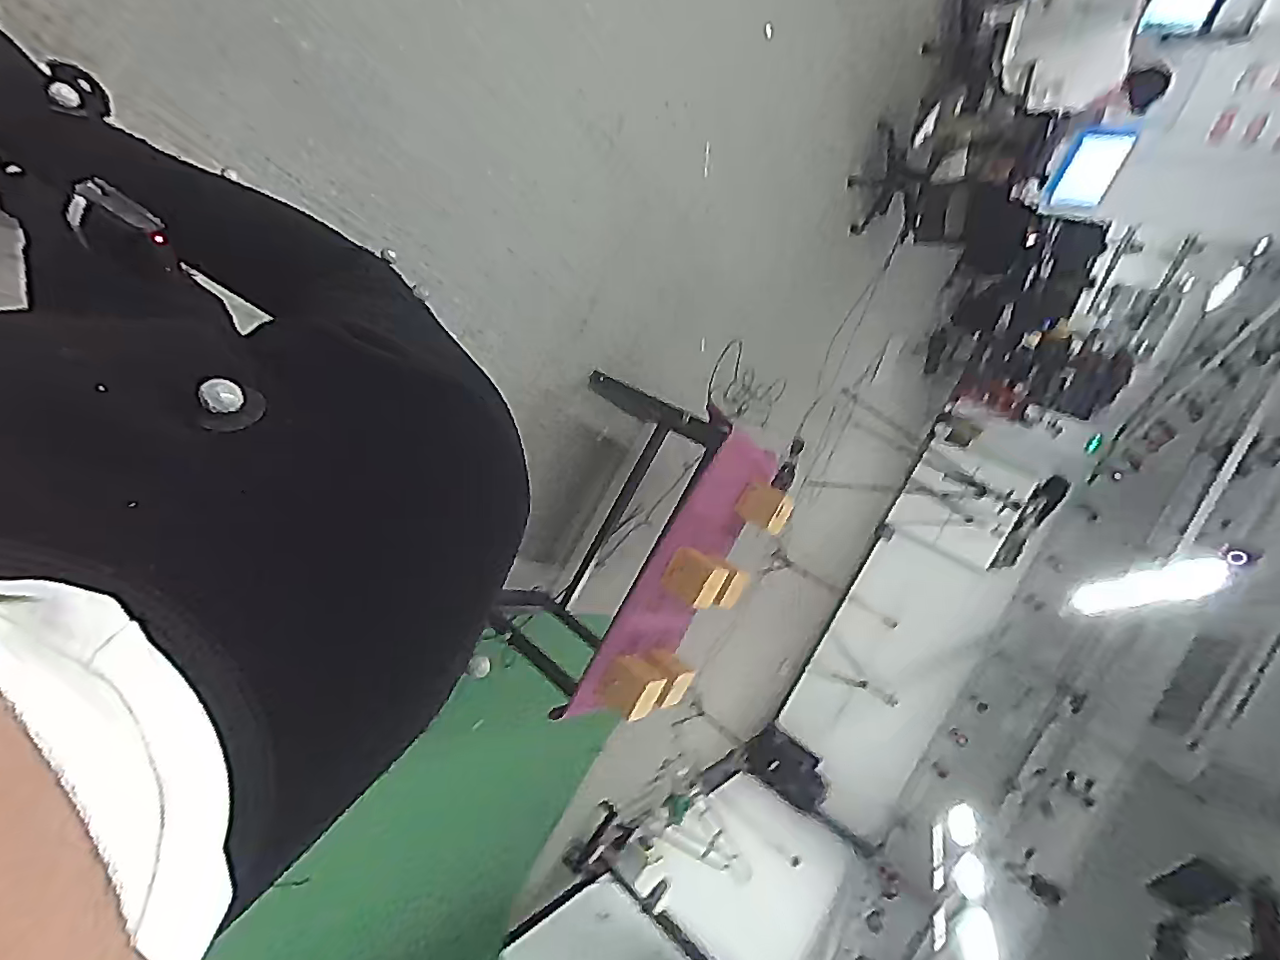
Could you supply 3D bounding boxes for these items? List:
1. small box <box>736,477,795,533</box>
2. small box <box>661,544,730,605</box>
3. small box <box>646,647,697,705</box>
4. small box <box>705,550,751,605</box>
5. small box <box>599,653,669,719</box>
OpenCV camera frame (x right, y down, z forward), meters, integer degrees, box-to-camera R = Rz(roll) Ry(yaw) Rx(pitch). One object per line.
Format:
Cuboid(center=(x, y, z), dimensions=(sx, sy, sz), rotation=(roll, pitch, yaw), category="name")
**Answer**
Cuboid(center=(0.536, 0.103, 2.317), dimensions=(0.168, 0.176, 0.179), rotation=(-59, 148, 0), category="small box")
Cuboid(center=(0.212, 0.361, 2.069), dimensions=(0.168, 0.176, 0.179), rotation=(-61, 149, 2), category="small box")
Cuboid(center=(0.109, 0.826, 2.299), dimensions=(0.179, 0.176, 0.168), rotation=(25, 93, -59), category="small box")
Cuboid(center=(0.340, 0.414, 2.298), dimensions=(0.168, 0.176, 0.179), rotation=(-62, 148, 1), category="small box")
Cuboid(center=(-0.023, 0.776, 2.060), dimensions=(0.168, 0.176, 0.179), rotation=(-62, 150, 0), category="small box")
